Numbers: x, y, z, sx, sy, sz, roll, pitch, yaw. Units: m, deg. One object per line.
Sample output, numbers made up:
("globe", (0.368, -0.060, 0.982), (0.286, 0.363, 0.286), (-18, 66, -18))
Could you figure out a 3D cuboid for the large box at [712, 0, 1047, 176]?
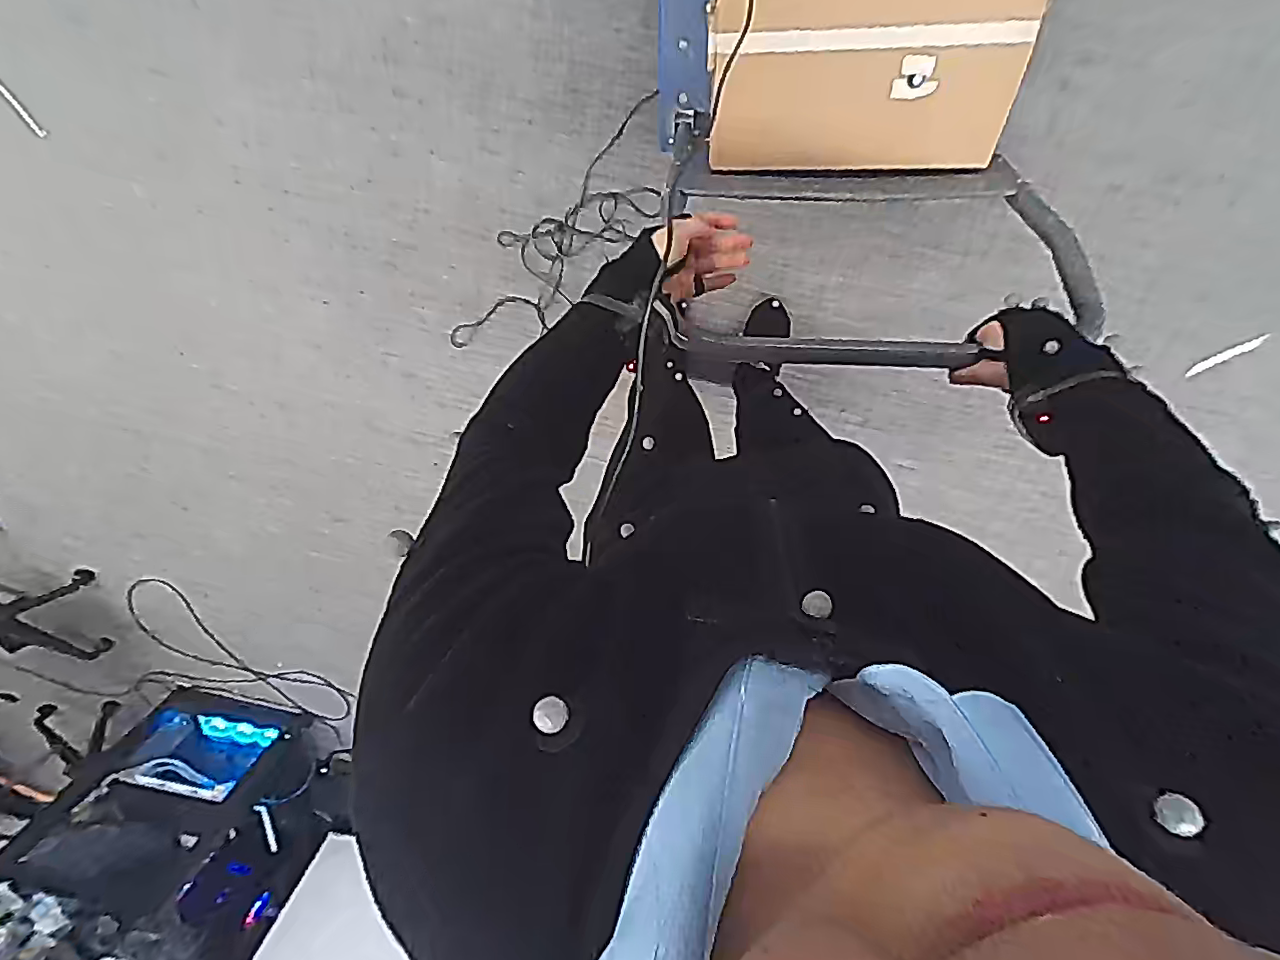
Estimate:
("large box", (0.313, -0.672, 0.806), (0.408, 0.320, 0.320), (2, 135, 5))
